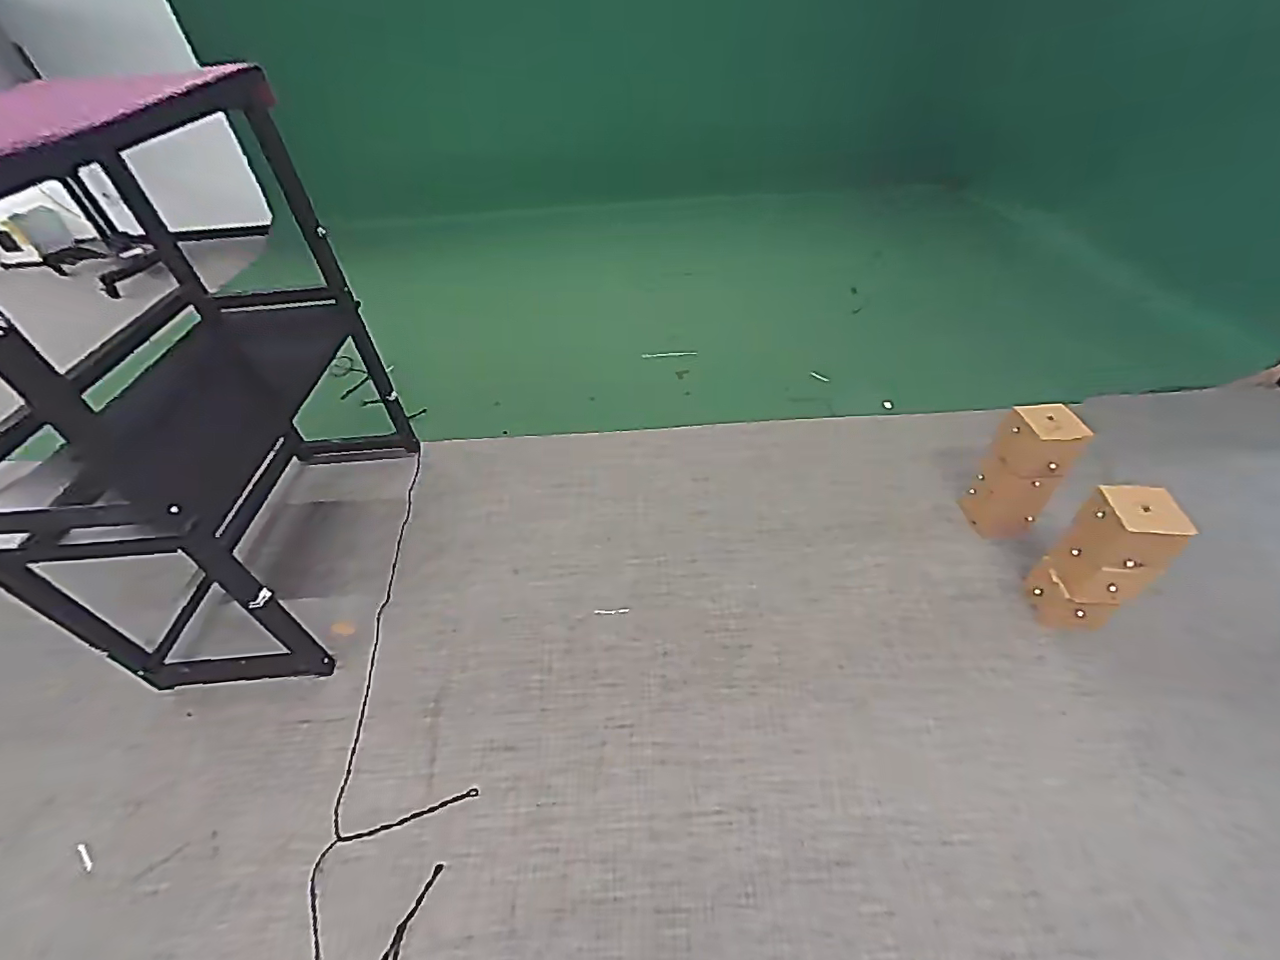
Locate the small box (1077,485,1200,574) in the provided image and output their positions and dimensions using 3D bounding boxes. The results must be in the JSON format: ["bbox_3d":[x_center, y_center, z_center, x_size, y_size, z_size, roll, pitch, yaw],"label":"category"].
[{"bbox_3d":[1.375,0.138,1.510,0.168,0.176,0.179,3,45,10],"label":"small box"}]

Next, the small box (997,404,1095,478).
[{"bbox_3d":[1.327,-0.128,1.783,0.168,0.176,0.179,-4,45,1],"label":"small box"}]

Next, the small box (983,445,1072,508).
[{"bbox_3d":[1.348,-0.015,1.903,0.179,0.176,0.168,-4,45,-1],"label":"small box"}]

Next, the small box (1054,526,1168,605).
[{"bbox_3d":[1.396,0.257,1.619,0.168,0.176,0.179,1,45,6],"label":"small box"}]

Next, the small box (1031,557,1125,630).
[{"bbox_3d":[1.399,0.367,1.740,0.179,0.176,0.168,1,45,8],"label":"small box"}]
